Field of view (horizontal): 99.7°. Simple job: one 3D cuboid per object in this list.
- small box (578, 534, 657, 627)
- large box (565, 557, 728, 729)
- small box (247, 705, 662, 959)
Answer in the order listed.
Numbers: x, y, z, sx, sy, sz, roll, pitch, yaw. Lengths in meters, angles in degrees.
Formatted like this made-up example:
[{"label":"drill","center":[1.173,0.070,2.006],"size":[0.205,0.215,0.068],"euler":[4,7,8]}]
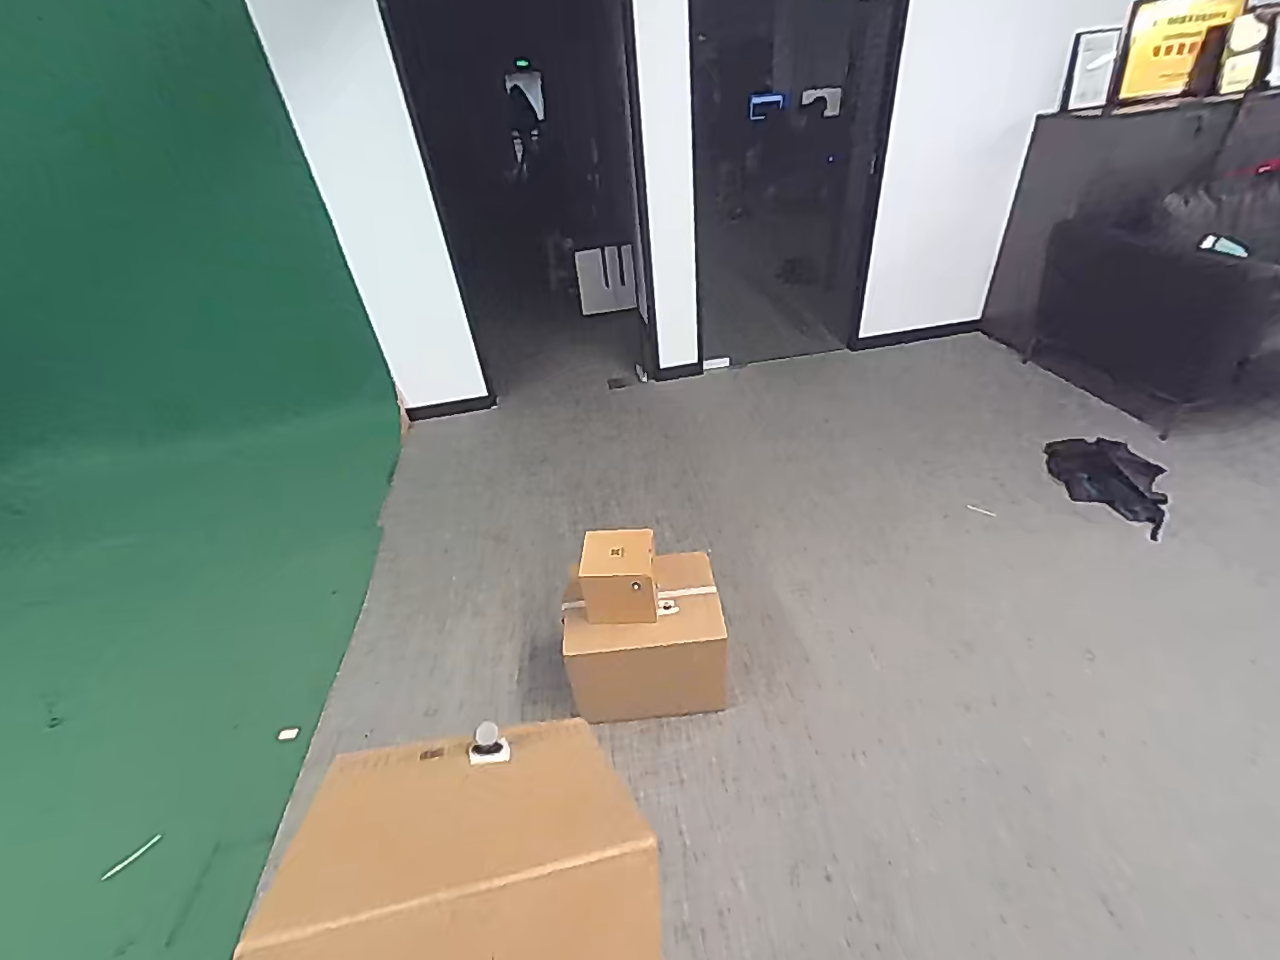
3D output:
[{"label":"small box","center":[-0.050,0.254,1.361],"size":[0.179,0.176,0.168],"euler":[-2,35,4]},{"label":"large box","center":[0.013,0.448,1.500],"size":[0.408,0.320,0.320],"euler":[-5,36,-1]},{"label":"small box","center":[-0.092,0.250,0.300],"size":[0.168,0.179,0.176],"euler":[-2,-3,-19]}]
